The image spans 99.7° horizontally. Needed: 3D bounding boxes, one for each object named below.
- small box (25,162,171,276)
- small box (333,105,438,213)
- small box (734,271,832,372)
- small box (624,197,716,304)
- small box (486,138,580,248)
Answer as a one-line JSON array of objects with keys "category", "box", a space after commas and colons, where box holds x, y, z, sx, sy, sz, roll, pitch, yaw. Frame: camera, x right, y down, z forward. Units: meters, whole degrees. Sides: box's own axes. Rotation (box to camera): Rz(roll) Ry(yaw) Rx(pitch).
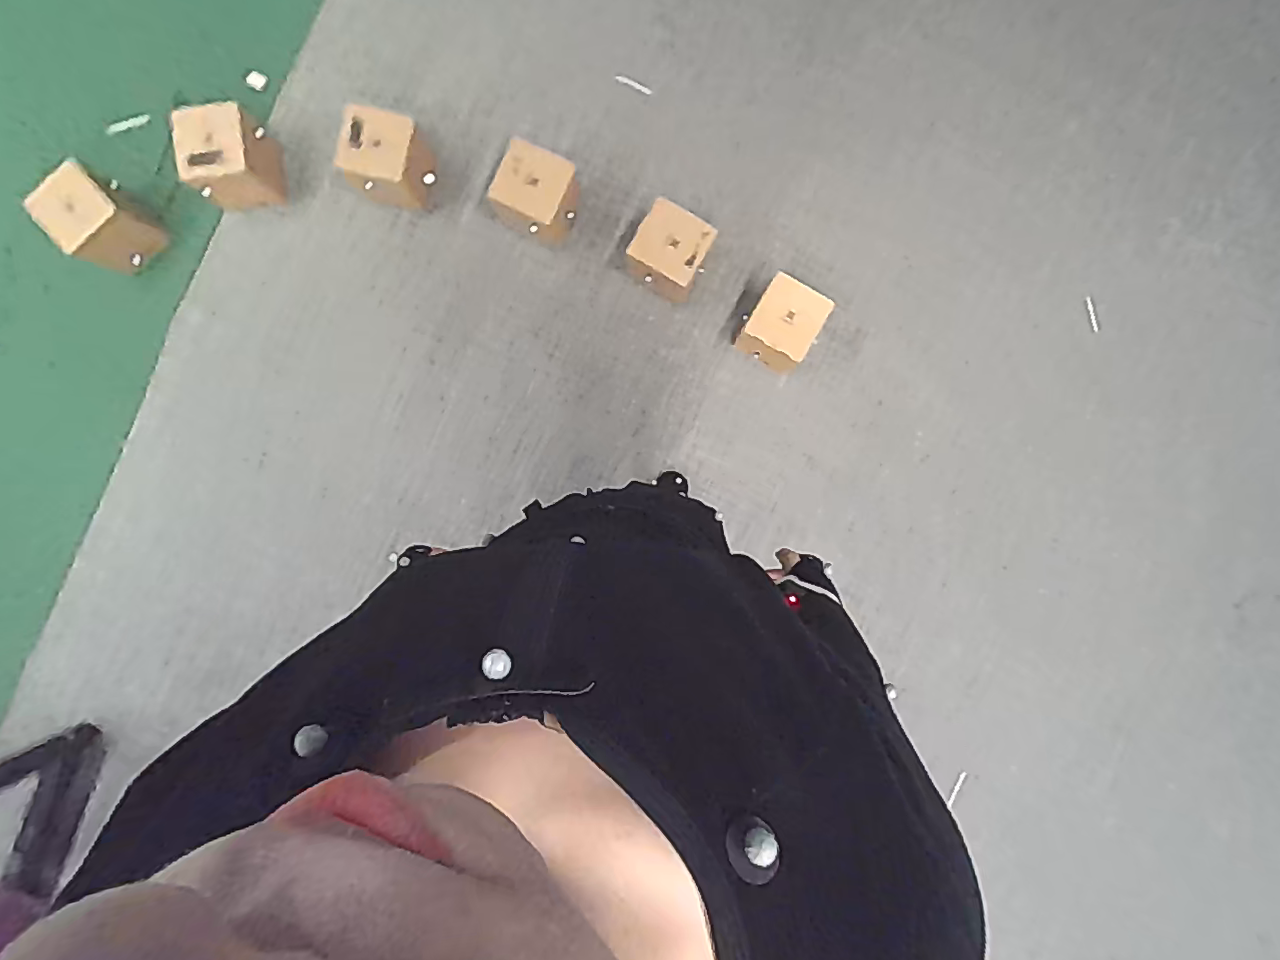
[{"category": "small box", "box": [-1.407, -0.673, 1.416, 0.168, 0.176, 0.179, -41, 90, 1]}, {"category": "small box", "box": [-0.656, -0.827, 1.410, 0.179, 0.176, 0.168, 13, 91, -1]}, {"category": "small box", "box": [0.365, -0.406, 1.416, 0.168, 0.176, 0.179, 30, 91, -1]}, {"category": "small box", "box": [0.076, -0.588, 1.412, 0.179, 0.176, 0.168, 30, 91, 0]}, {"category": "small box", "box": [-0.269, -0.735, 1.411, 0.179, 0.176, 0.168, 25, 90, 0]}]
